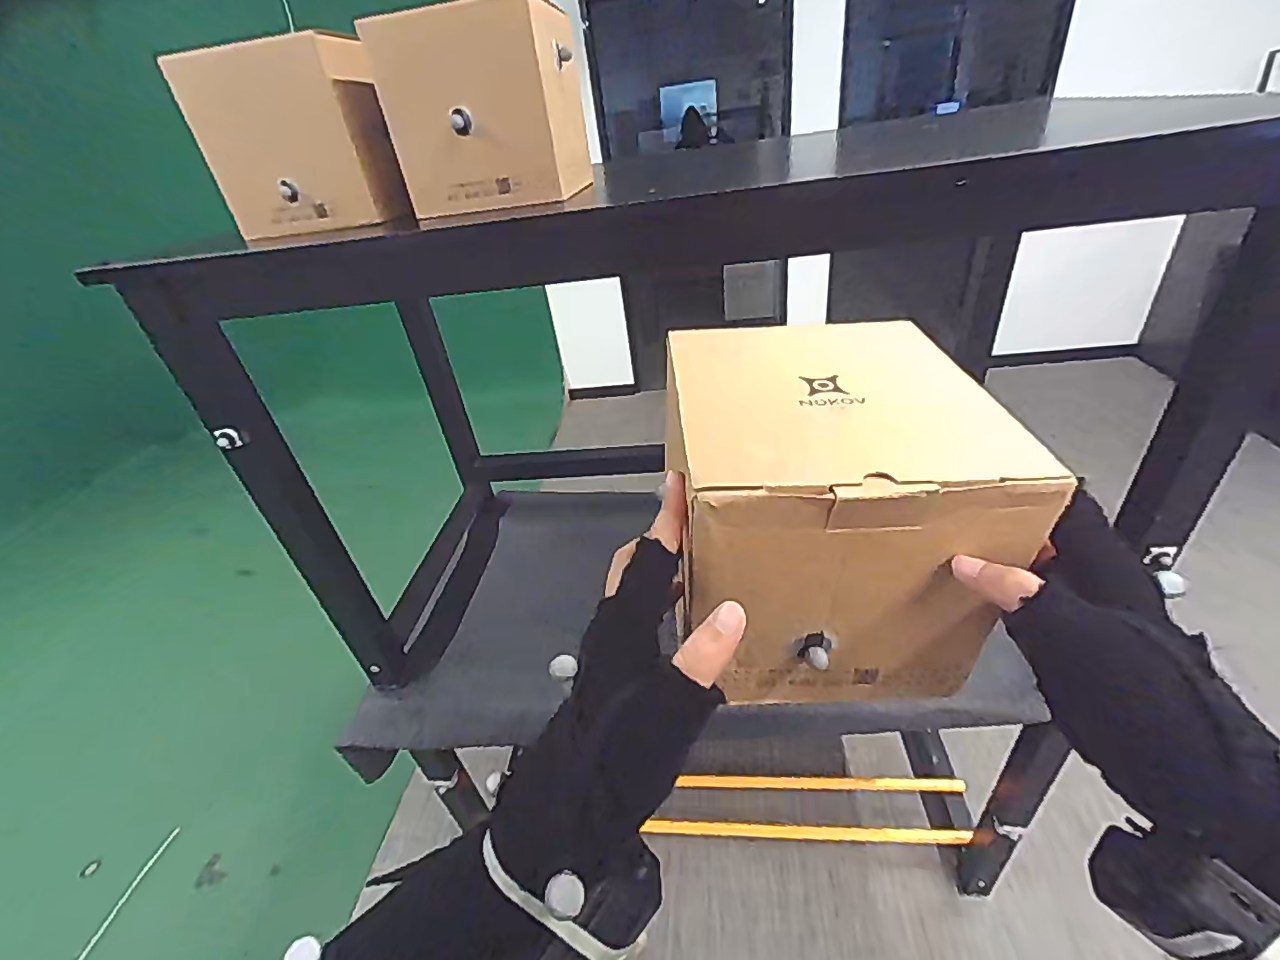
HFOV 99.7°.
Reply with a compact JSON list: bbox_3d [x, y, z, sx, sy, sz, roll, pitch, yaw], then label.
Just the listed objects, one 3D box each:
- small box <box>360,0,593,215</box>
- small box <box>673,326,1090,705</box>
[{"bbox_3d":[-0.153,-0.392,0.583,0.168,0.176,0.179,-2,34,9],"label":"small box"},{"bbox_3d":[0.108,0.016,0.341,0.168,0.176,0.179,-2,38,0],"label":"small box"}]
